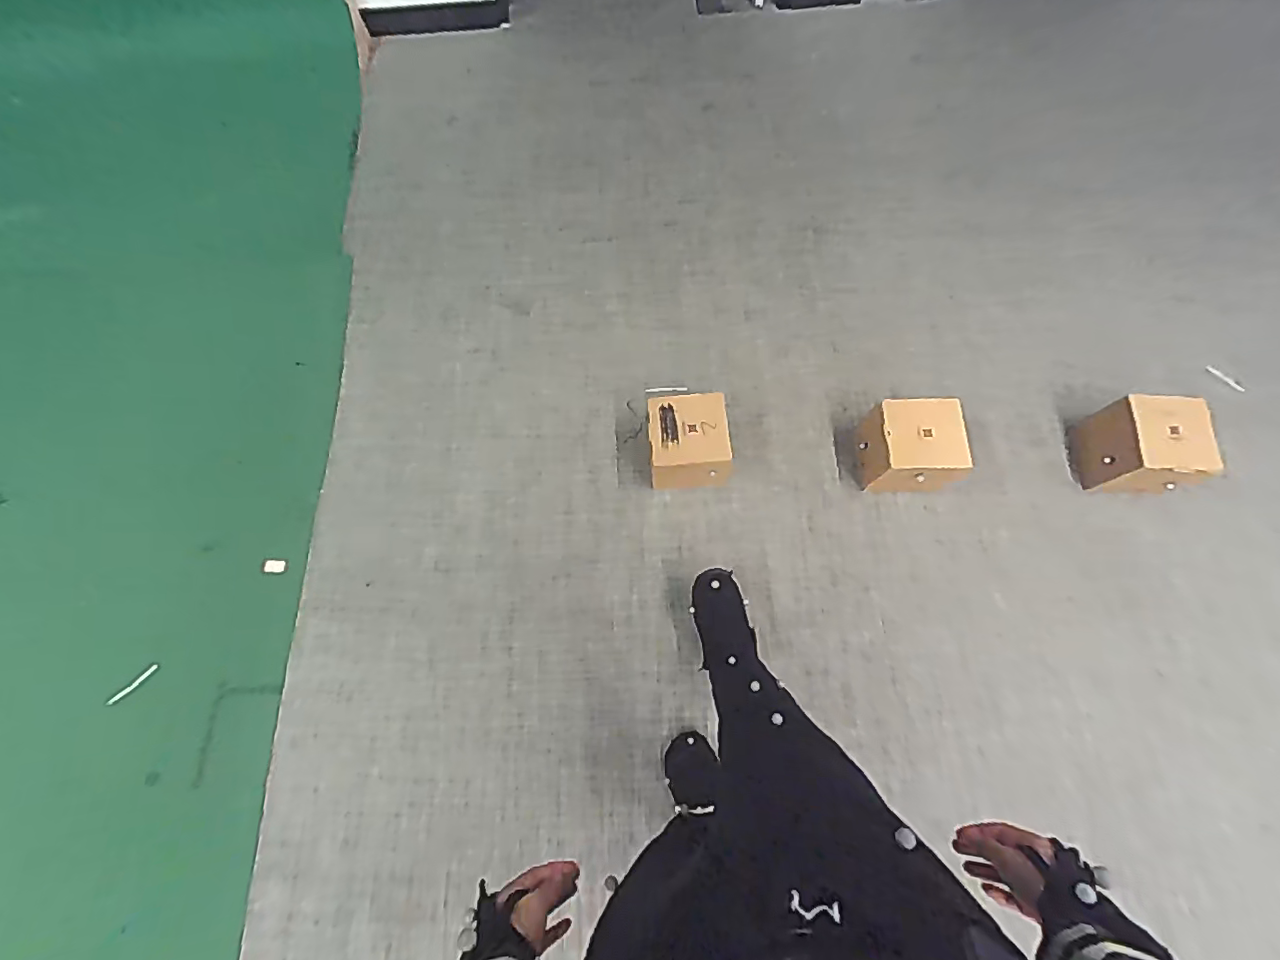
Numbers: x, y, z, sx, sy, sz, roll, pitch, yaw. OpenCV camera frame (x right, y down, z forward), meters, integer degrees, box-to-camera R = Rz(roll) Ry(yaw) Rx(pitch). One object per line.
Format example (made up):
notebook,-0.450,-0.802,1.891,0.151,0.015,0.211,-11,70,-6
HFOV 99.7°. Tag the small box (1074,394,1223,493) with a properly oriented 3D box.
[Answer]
small box,1.142,-0.076,1.231,0.168,0.176,0.179,4,71,1

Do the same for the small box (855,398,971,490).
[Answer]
small box,0.619,-0.078,1.246,0.179,0.176,0.168,0,72,2
